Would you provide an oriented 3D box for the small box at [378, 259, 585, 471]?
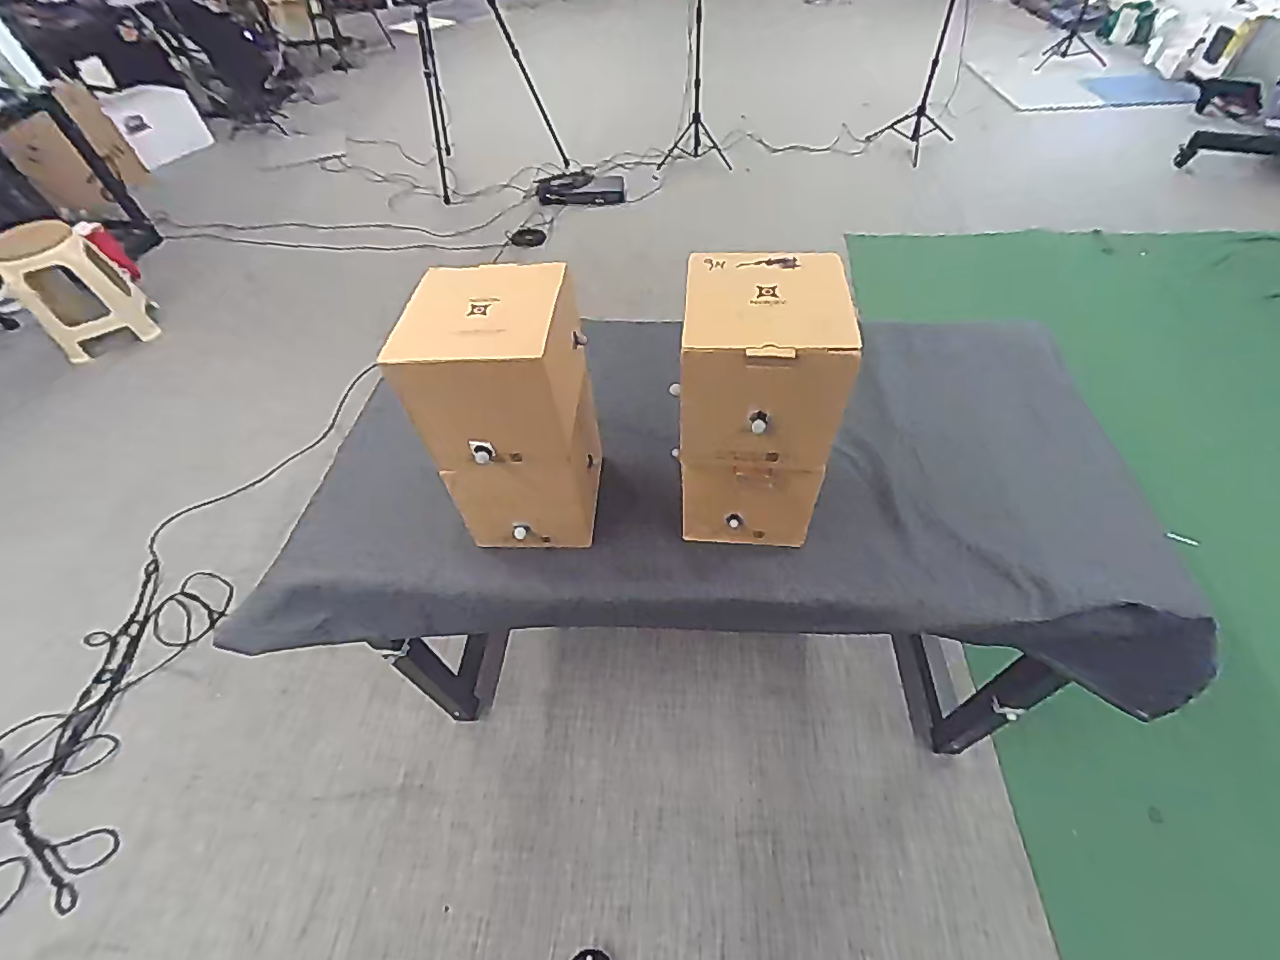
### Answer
[{"bbox_3d":[-0.160,-0.129,0.620,0.168,0.176,0.179,-1,51,5],"label":"small box"}]

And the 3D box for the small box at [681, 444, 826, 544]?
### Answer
[{"bbox_3d":[0.143,-0.036,0.734,0.168,0.176,0.179,2,51,6],"label":"small box"}]

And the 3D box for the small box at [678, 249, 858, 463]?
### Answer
[{"bbox_3d":[0.131,-0.135,0.605,0.168,0.176,0.179,3,52,6],"label":"small box"}]

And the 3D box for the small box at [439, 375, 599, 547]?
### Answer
[{"bbox_3d":[-0.150,-0.027,0.746,0.168,0.176,0.179,0,51,4],"label":"small box"}]
